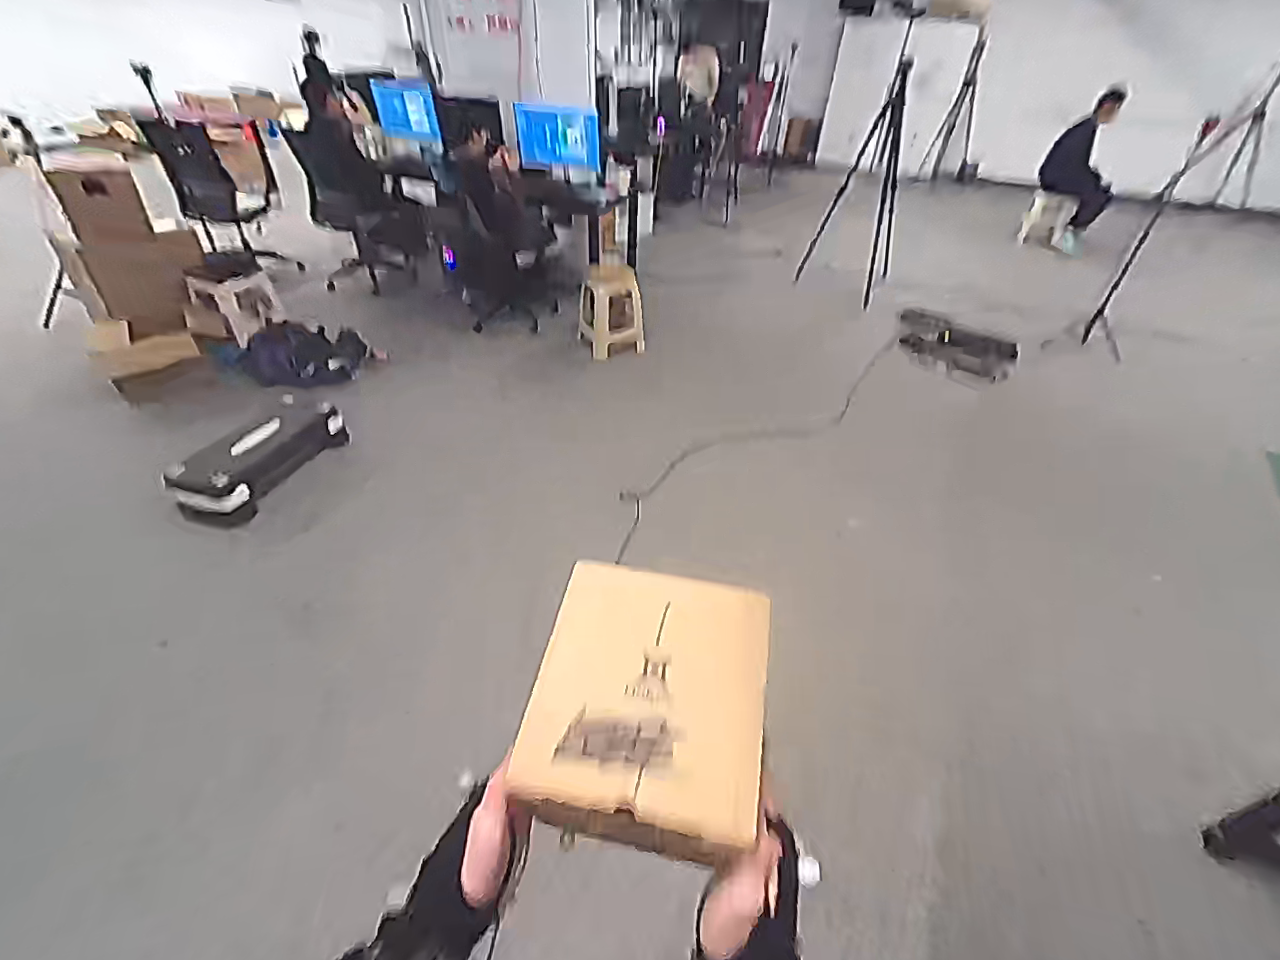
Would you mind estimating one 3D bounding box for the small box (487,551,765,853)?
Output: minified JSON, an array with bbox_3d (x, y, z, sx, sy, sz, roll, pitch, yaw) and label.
[{"bbox_3d":[0.001,0.186,0.445,0.168,0.176,0.179,10,54,9],"label":"small box"}]
